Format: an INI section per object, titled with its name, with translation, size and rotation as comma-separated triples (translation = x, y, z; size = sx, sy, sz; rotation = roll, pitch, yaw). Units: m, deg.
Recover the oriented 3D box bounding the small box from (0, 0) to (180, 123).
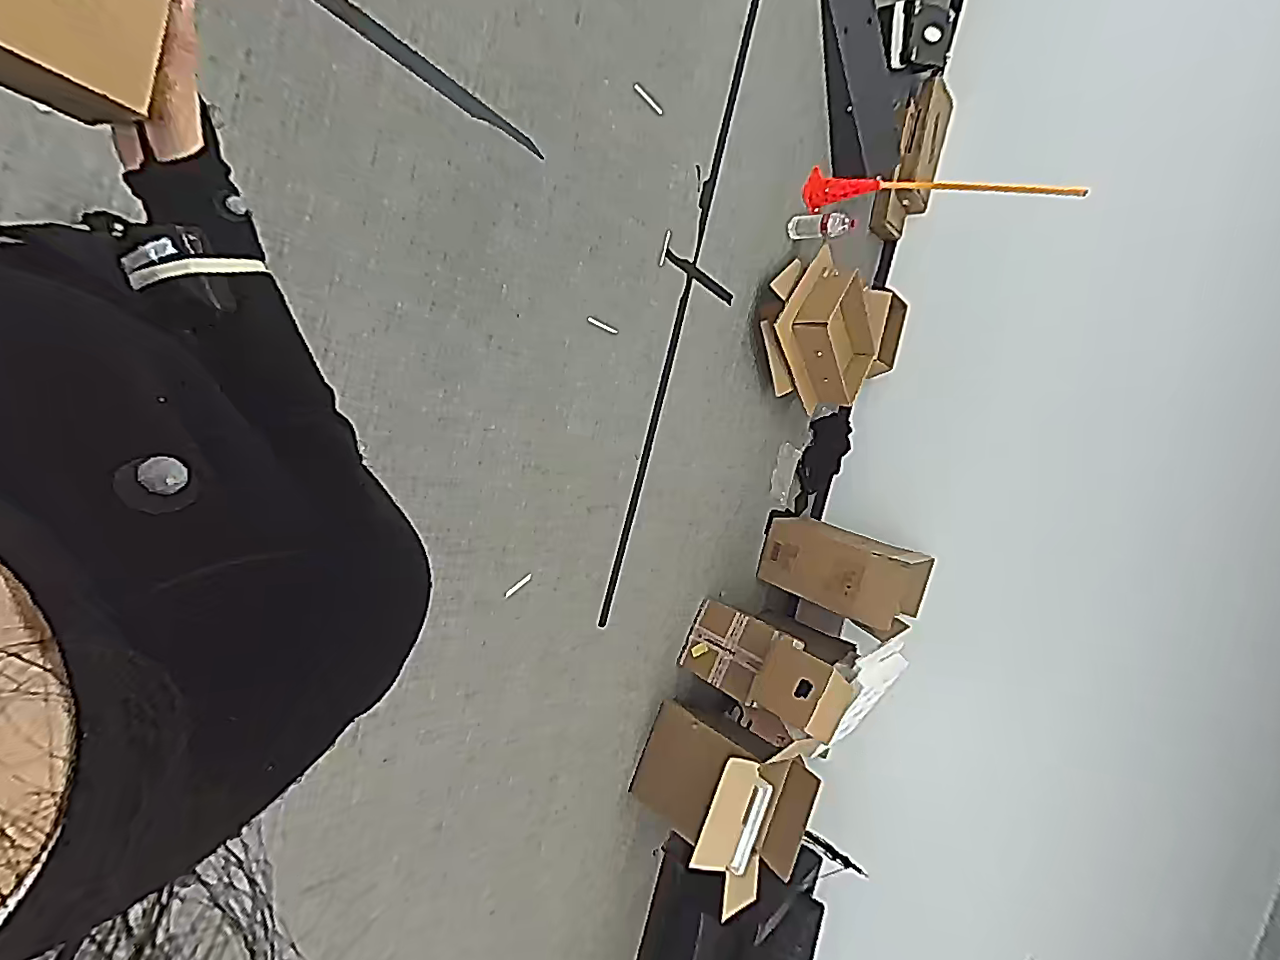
[small box]
translation = -0.385, -0.336, 0.308
size = 0.168, 0.176, 0.179
rotation = 8, 101, -56
